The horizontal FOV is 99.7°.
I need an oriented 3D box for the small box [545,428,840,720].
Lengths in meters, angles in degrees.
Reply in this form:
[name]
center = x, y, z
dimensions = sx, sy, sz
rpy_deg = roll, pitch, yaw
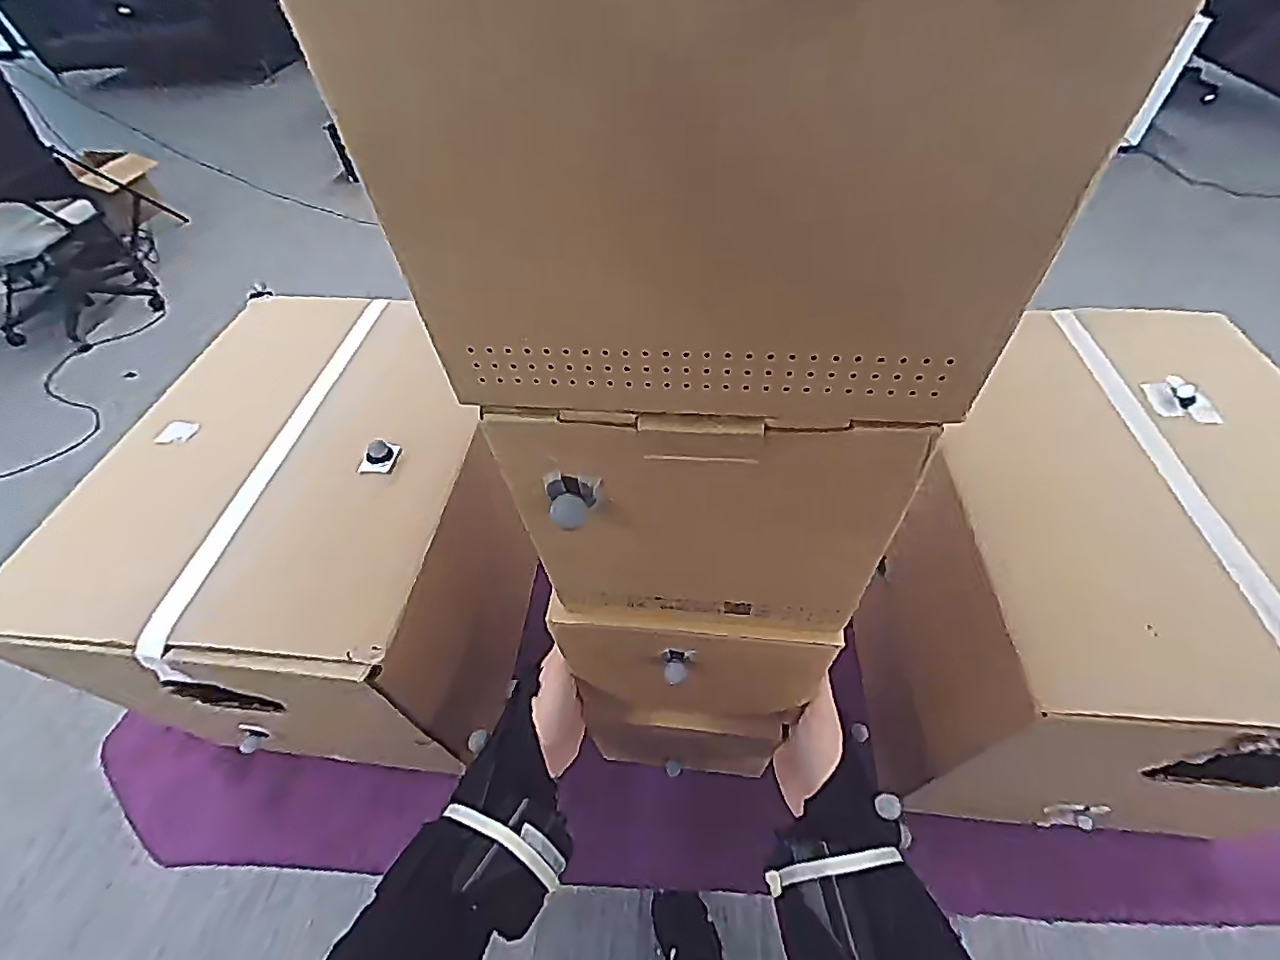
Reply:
[small box]
center = 0.043, 0.078, 0.425
dimensions = 0.179, 0.176, 0.168
rpy_deg = 2, 52, 8

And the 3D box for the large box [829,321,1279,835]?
[large box]
center = 0.400, 0.090, 0.538
dimensions = 0.320, 0.320, 0.408
rpy_deg = 2, 49, 5
